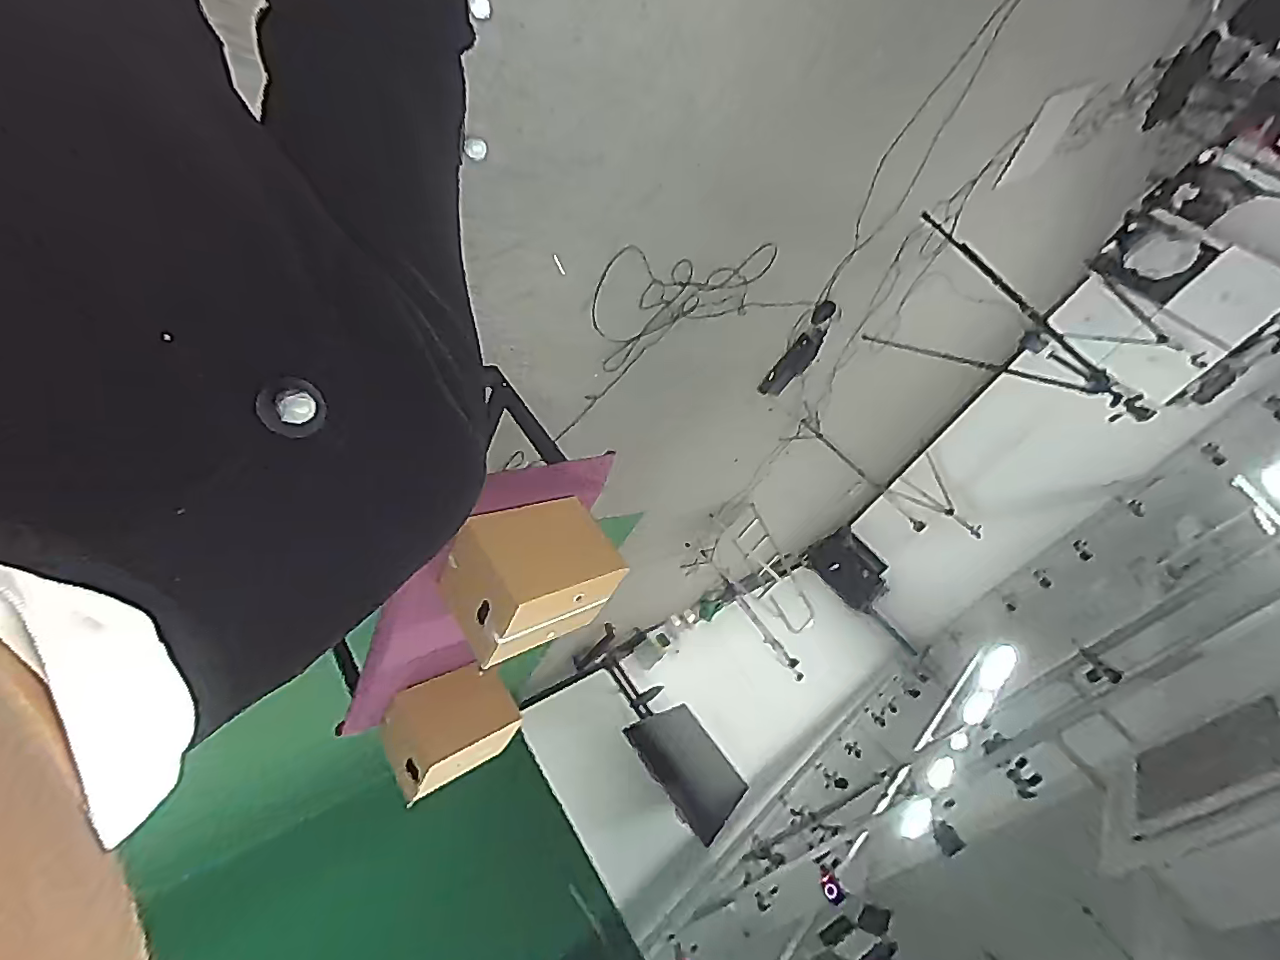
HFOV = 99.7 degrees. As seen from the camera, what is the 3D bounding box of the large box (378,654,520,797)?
[{"bbox_3d":[-0.766,0.968,2.171,0.408,0.320,0.320,-9,140,-47],"label":"large box"}]
